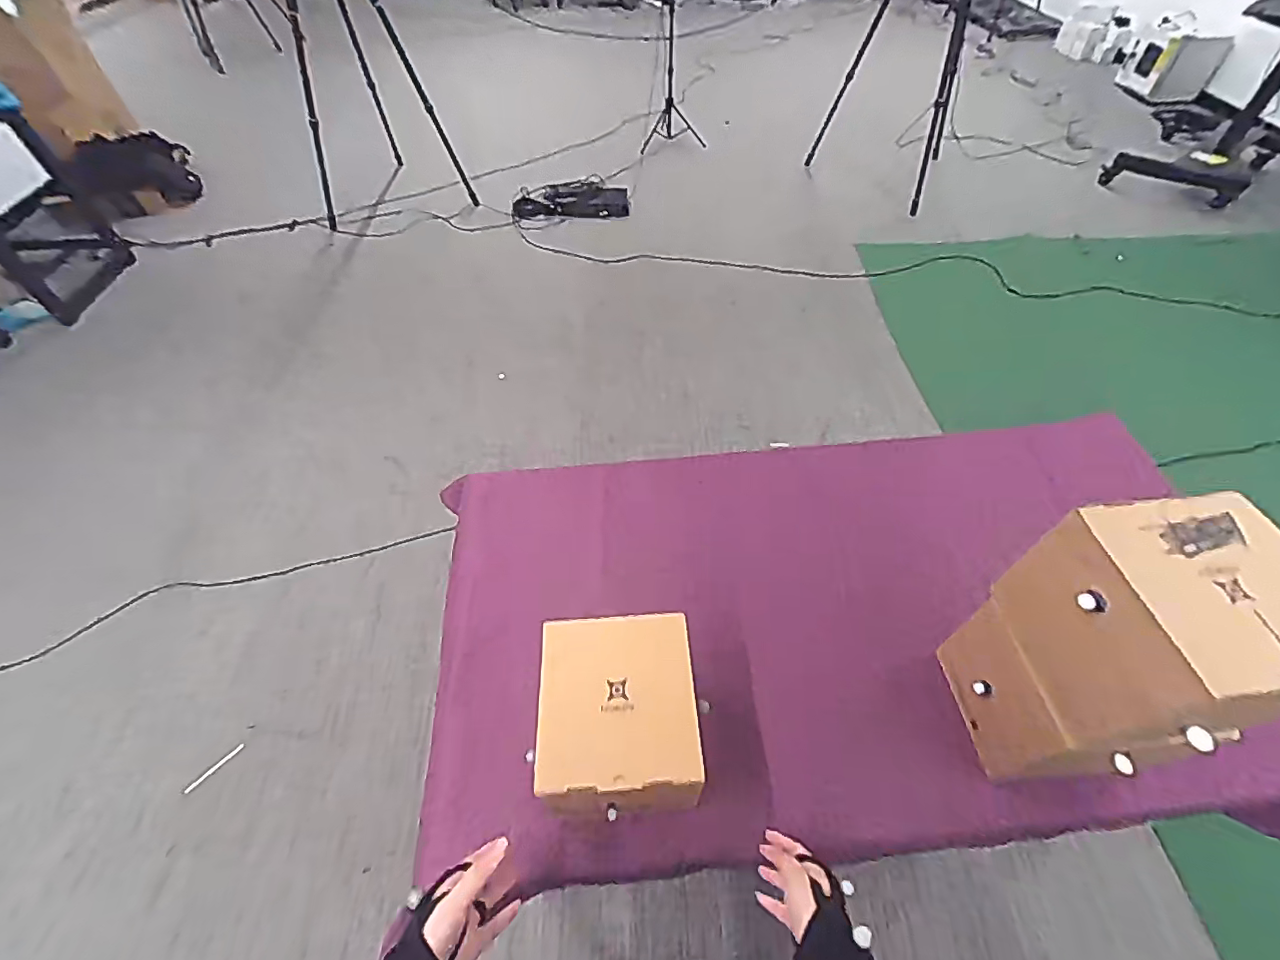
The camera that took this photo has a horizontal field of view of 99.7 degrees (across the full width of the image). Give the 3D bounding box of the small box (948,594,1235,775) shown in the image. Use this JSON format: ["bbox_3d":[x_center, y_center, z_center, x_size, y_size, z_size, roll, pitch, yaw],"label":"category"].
[{"bbox_3d":[0.498,0.241,0.641,0.179,0.176,0.168,-4,52,-1],"label":"small box"}]

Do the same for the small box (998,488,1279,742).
[{"bbox_3d":[0.493,0.131,0.518,0.168,0.176,0.179,-6,52,-2],"label":"small box"}]

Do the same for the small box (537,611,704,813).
[{"bbox_3d":[-0.022,0.274,0.635,0.168,0.176,0.179,-4,52,-1],"label":"small box"}]
